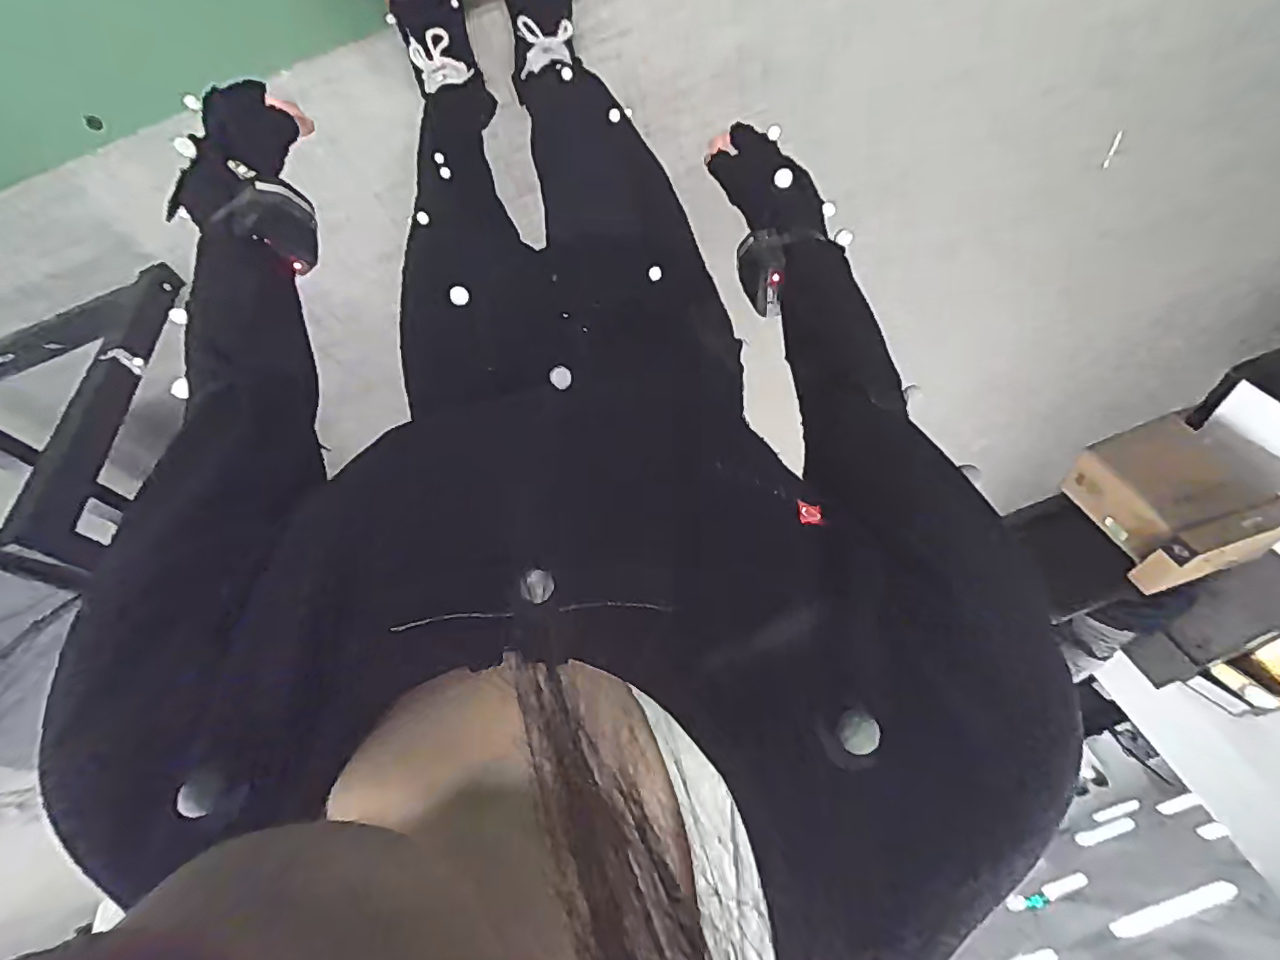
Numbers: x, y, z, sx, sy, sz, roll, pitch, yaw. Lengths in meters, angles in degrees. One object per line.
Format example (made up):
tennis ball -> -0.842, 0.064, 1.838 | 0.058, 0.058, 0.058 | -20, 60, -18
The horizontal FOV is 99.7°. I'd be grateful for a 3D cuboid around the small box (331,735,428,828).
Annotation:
small box -> -0.693, 0.815, 1.461 | 0.179, 0.176, 0.168 | -22, 142, 4
